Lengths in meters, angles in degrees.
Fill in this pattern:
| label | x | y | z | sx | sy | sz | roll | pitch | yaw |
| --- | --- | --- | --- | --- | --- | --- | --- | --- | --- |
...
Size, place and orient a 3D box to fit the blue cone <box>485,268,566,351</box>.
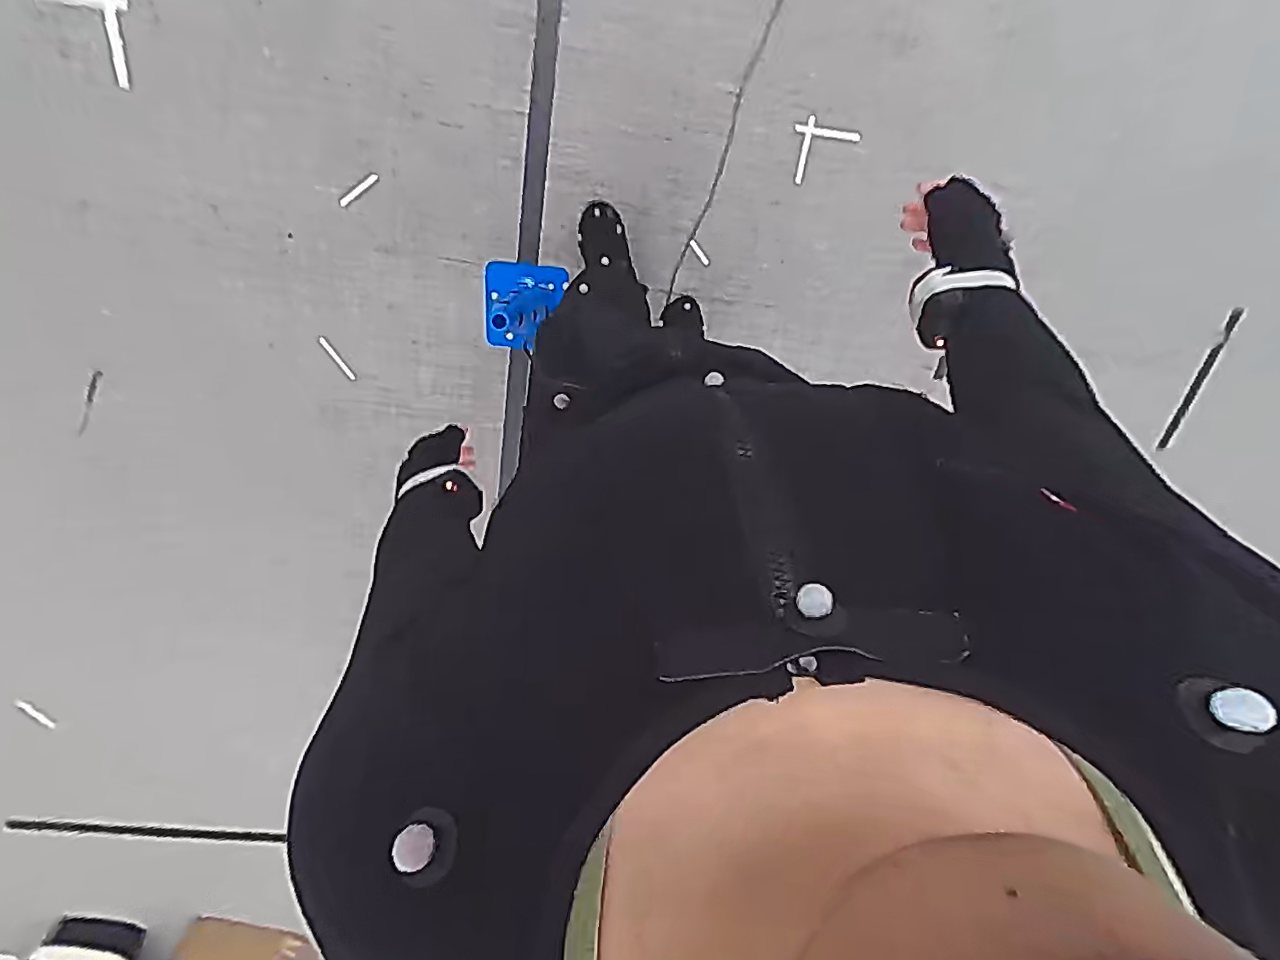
| label | x | y | z | sx | sy | sz | roll | pitch | yaw |
| --- | --- | --- | --- | --- | --- | --- | --- | --- | --- |
| blue cone | -0.269 | -0.354 | 1.158 | 0.192 | 0.380 | 0.193 | 3 | 110 | -4 |
